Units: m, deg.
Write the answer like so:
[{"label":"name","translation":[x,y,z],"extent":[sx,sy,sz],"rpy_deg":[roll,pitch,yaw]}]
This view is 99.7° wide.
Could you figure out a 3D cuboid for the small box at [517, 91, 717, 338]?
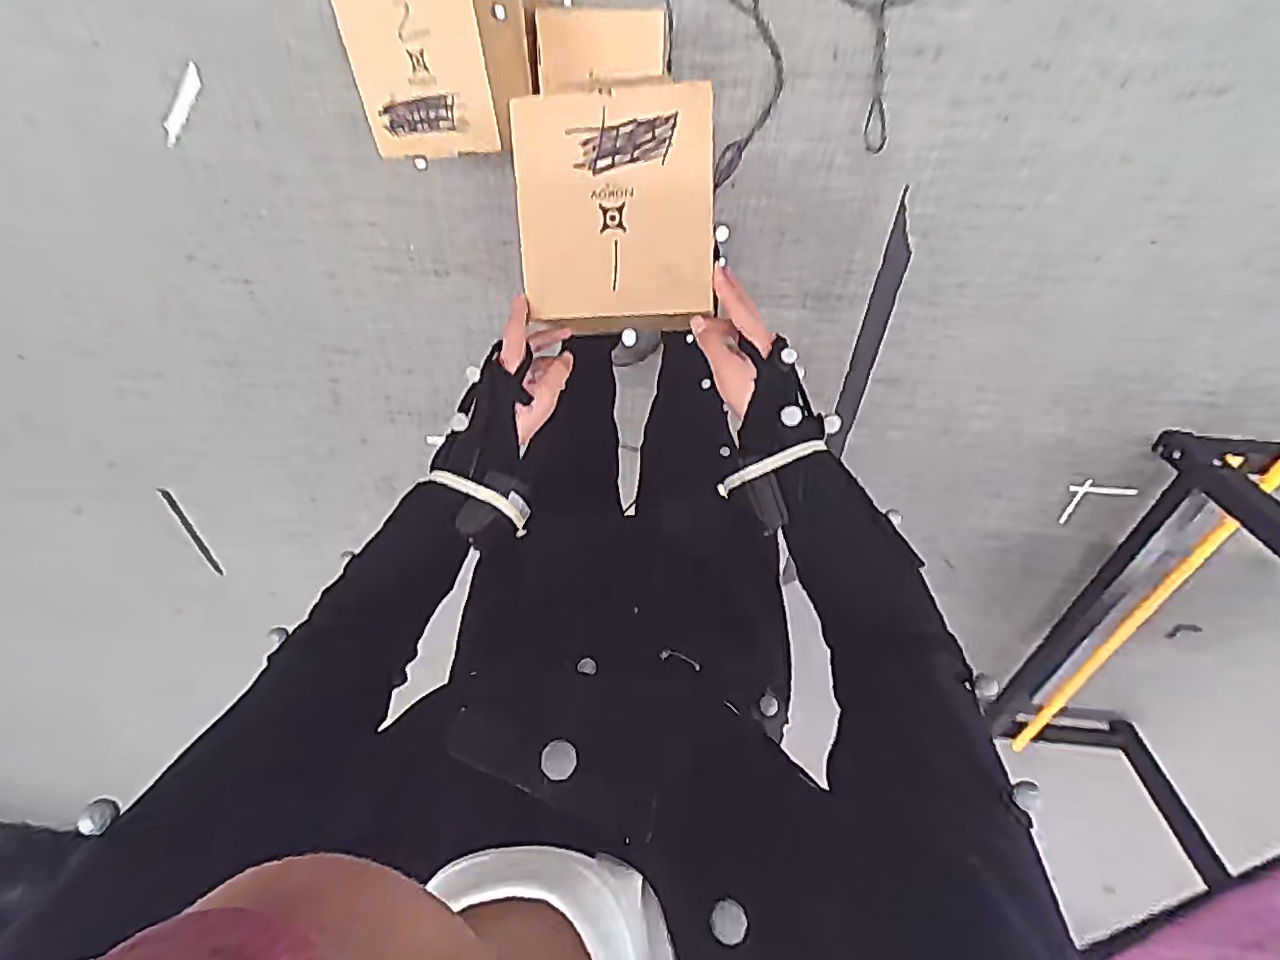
[{"label":"small box","translation":[-0.011,-0.236,0.527],"extent":[0.168,0.176,0.179],"rpy_deg":[0,101,7]}]

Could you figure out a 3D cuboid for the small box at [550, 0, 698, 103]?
[{"label":"small box","translation":[-0.033,-0.550,0.769],"extent":[0.168,0.176,0.179],"rpy_deg":[15,139,-22]}]
